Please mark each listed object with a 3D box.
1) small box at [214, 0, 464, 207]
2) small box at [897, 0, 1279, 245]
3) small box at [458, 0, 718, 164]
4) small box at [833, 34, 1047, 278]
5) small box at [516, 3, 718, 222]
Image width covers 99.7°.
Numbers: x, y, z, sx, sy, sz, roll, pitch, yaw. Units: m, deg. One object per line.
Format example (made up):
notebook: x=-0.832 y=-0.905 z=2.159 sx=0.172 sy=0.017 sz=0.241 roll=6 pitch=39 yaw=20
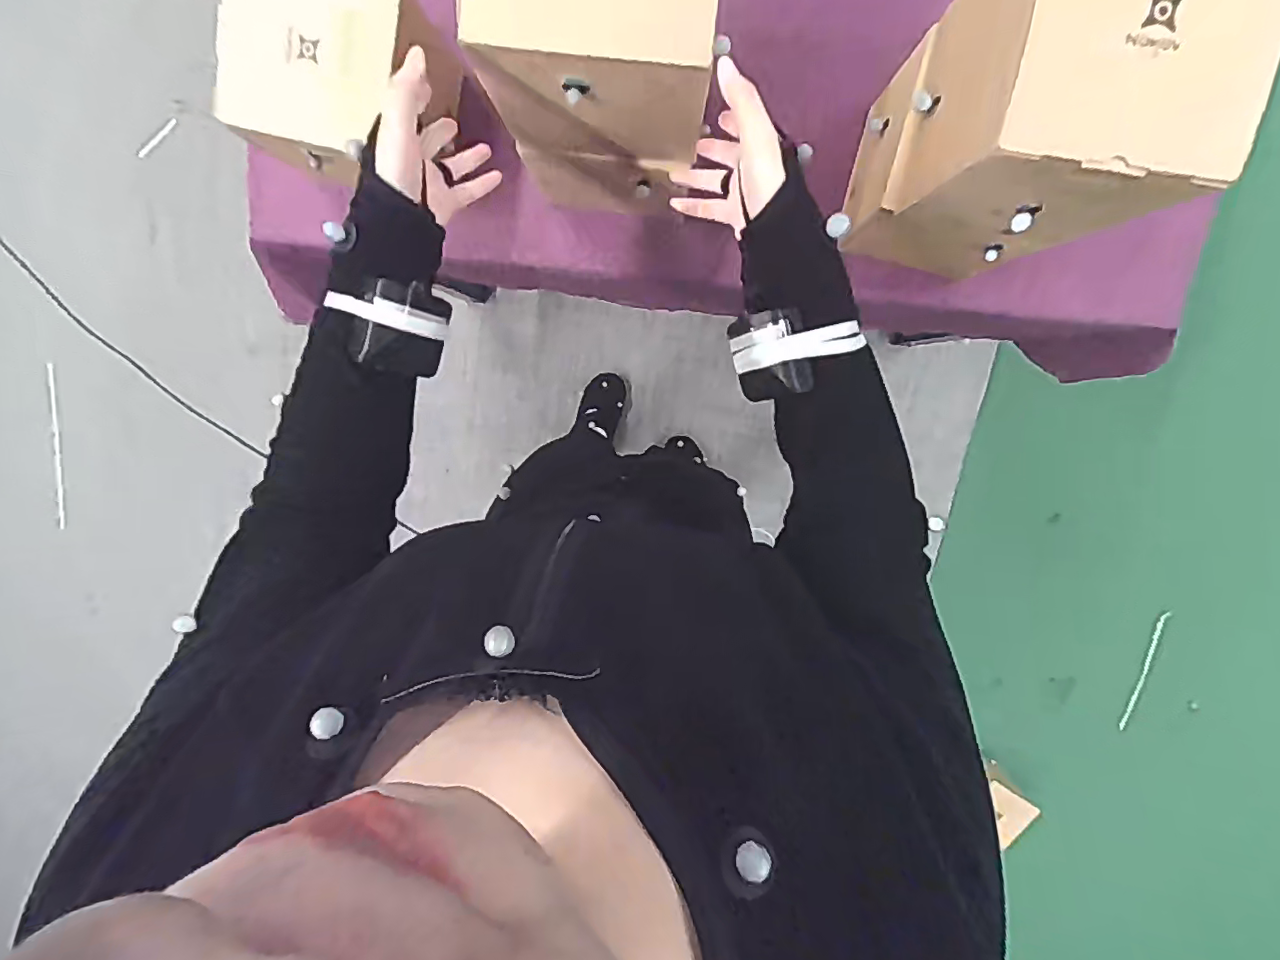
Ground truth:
small box: x=-0.322 y=-0.429 z=0.606 sx=0.179 sy=0.176 sz=0.168 roll=14 pitch=101 yaw=-1
small box: x=0.334 y=-0.305 z=0.435 sx=0.168 sy=0.176 sz=0.179 roll=10 pitch=102 yaw=0
small box: x=-0.027 y=-0.379 z=0.435 sx=0.179 sy=0.176 sz=0.168 roll=7 pitch=101 yaw=0
small box: x=0.337 y=-0.335 z=0.598 sx=0.179 sy=0.176 sz=0.168 roll=13 pitch=101 yaw=0
small box: x=-0.022 y=-0.402 z=0.598 sx=0.179 sy=0.176 sz=0.168 roll=10 pitch=100 yaw=1
